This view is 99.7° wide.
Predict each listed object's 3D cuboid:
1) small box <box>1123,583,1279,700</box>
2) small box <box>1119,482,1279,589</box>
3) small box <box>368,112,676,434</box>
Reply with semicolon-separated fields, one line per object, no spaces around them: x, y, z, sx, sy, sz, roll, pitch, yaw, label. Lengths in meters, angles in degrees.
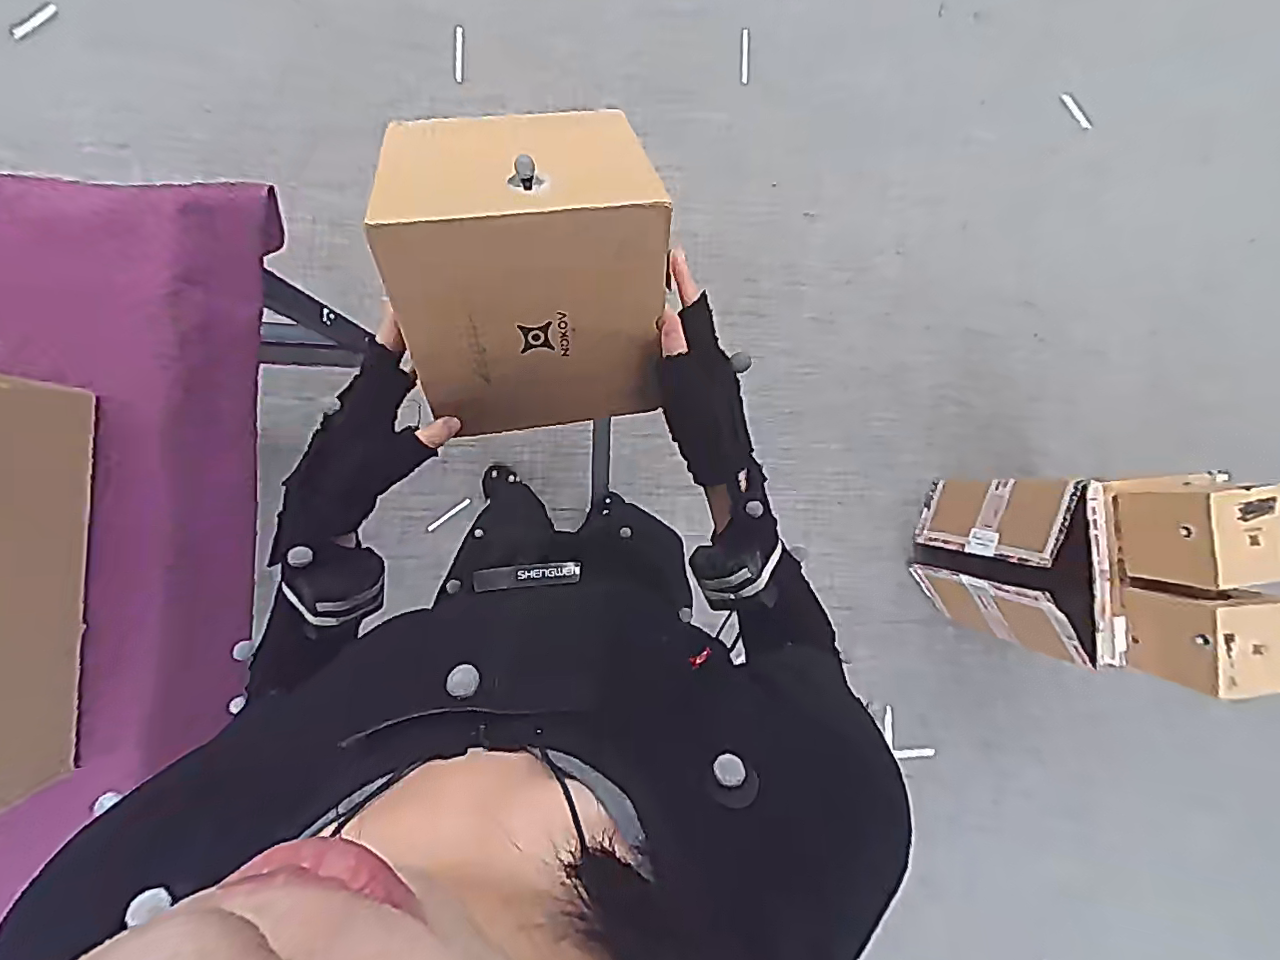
1.084;0.298;1.033;0.179;0.176;0.168;-3;92;-6;small box
1.069;0.101;1.032;0.168;0.176;0.179;-6;89;-5;small box
-0.080;-0.160;0.411;0.179;0.168;0.176;-8;49;-7;small box
